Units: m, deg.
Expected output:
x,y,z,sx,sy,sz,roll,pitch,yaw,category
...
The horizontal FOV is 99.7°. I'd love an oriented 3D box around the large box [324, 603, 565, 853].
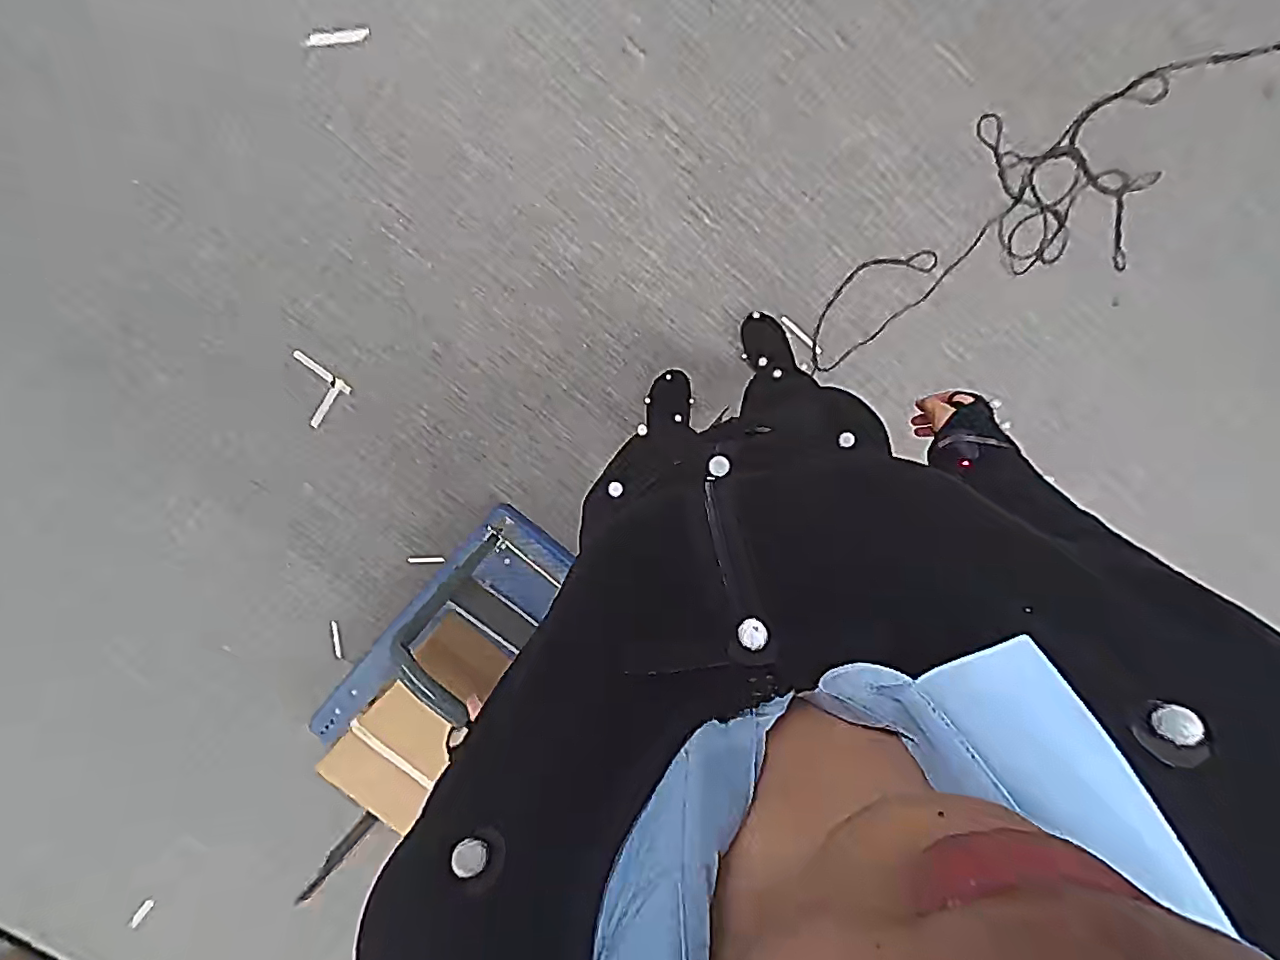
x,y,z,sx,sy,sz,roll,pitch,yaw,category
-0.445,0.584,1.326,0.408,0.320,0.320,43,100,-9,large box
